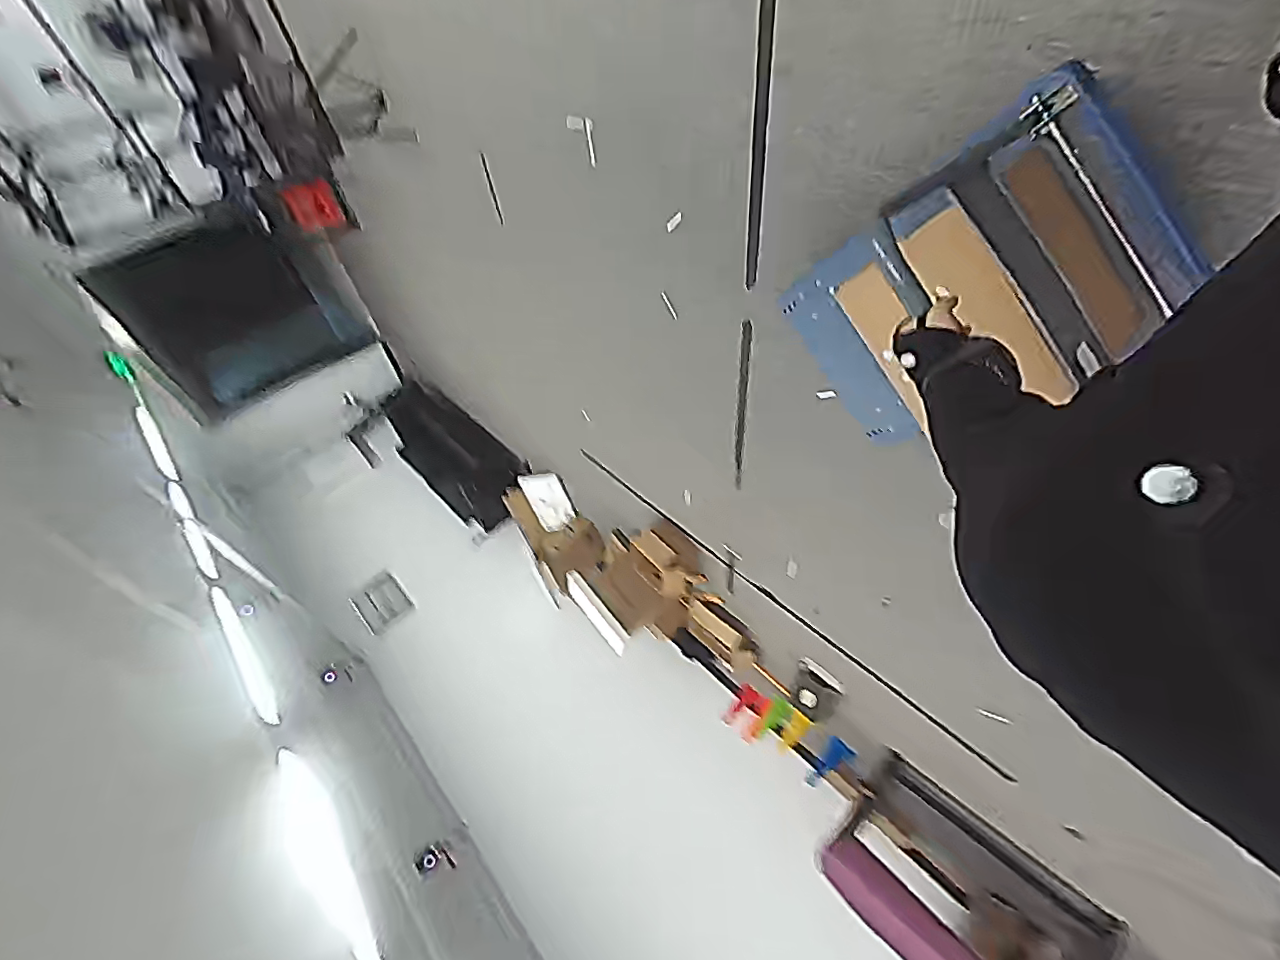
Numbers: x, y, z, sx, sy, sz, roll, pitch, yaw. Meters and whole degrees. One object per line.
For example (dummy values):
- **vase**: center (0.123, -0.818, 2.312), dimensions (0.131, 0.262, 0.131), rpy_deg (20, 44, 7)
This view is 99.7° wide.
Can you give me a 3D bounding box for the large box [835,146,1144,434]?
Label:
- **large box**: center (0.704, -0.368, 1.113), dimensions (0.408, 0.320, 0.320), rpy_deg (55, 157, -4)
